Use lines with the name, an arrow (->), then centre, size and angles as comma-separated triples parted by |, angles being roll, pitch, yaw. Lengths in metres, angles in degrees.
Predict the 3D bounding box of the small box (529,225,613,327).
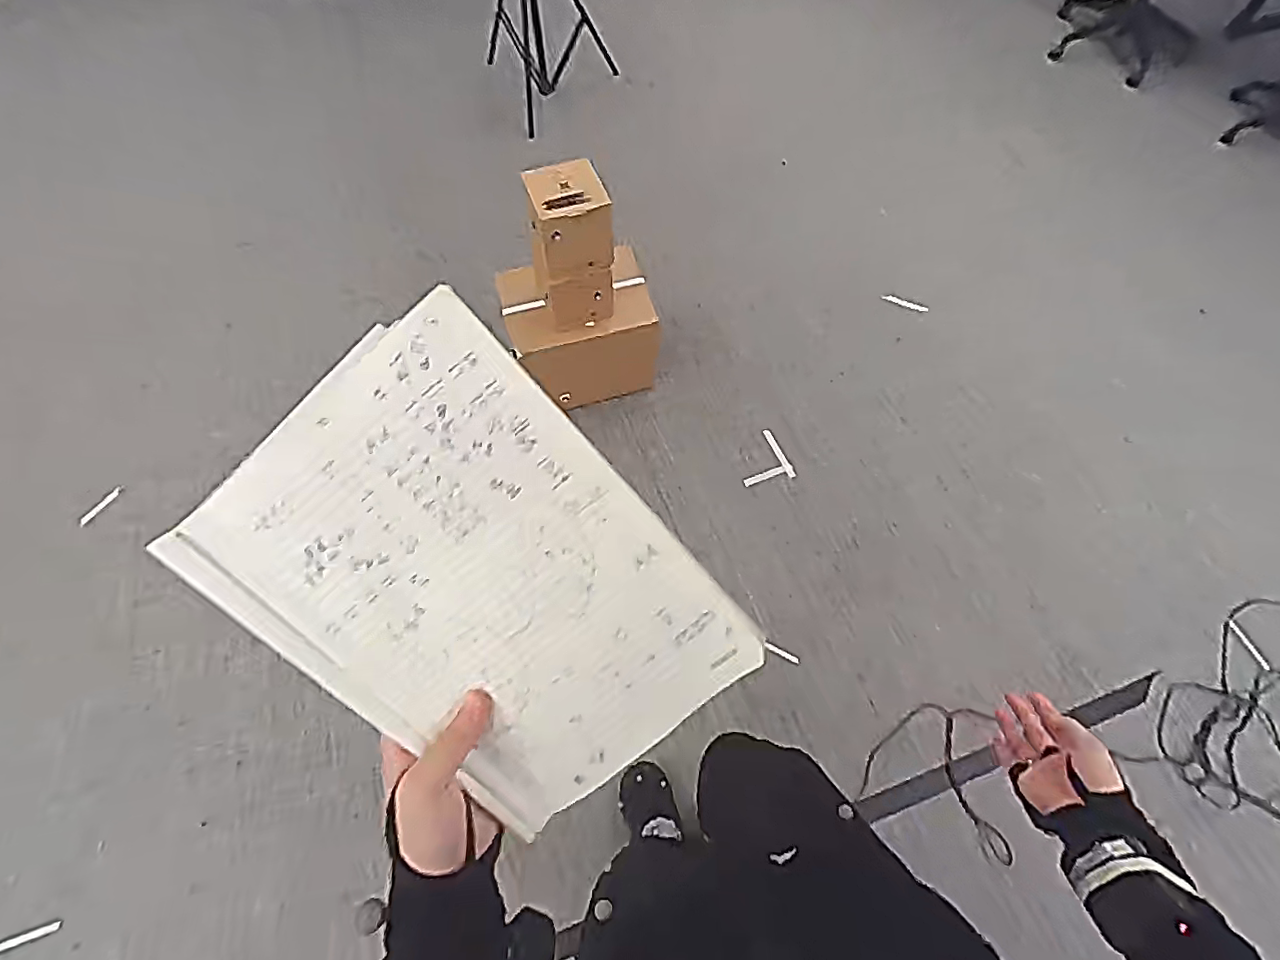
small box -> -0.175, -0.525, 1.416 | 0.168, 0.176, 0.179 | -21, 66, -11
